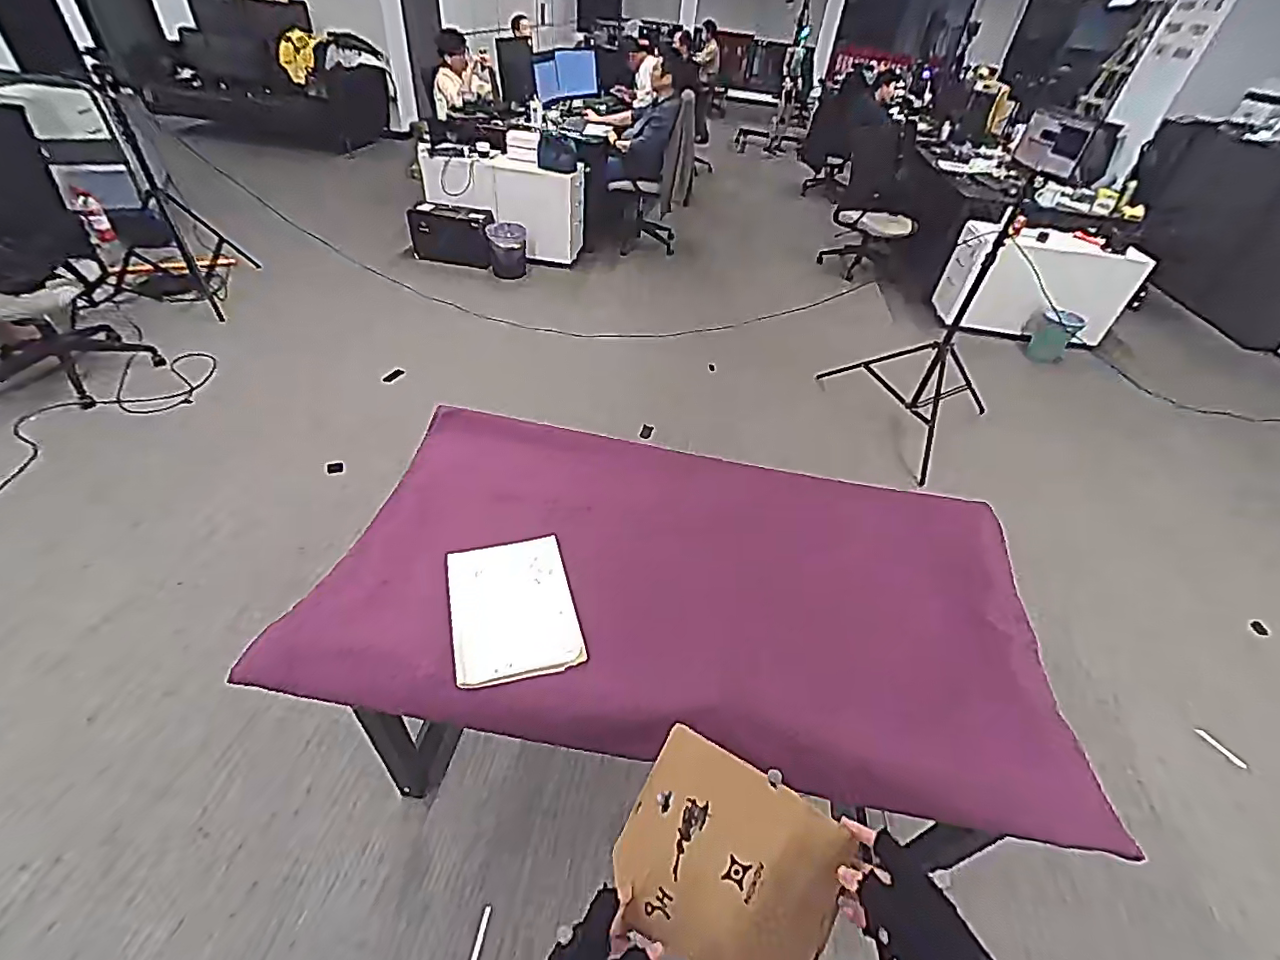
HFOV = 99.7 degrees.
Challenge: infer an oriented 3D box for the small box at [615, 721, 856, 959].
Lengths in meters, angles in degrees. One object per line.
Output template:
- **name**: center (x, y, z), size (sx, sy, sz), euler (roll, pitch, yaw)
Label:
- **small box**: center (0.087, 0.379, 0.576), size (0.179, 0.176, 0.168), euler (29, 72, 4)
